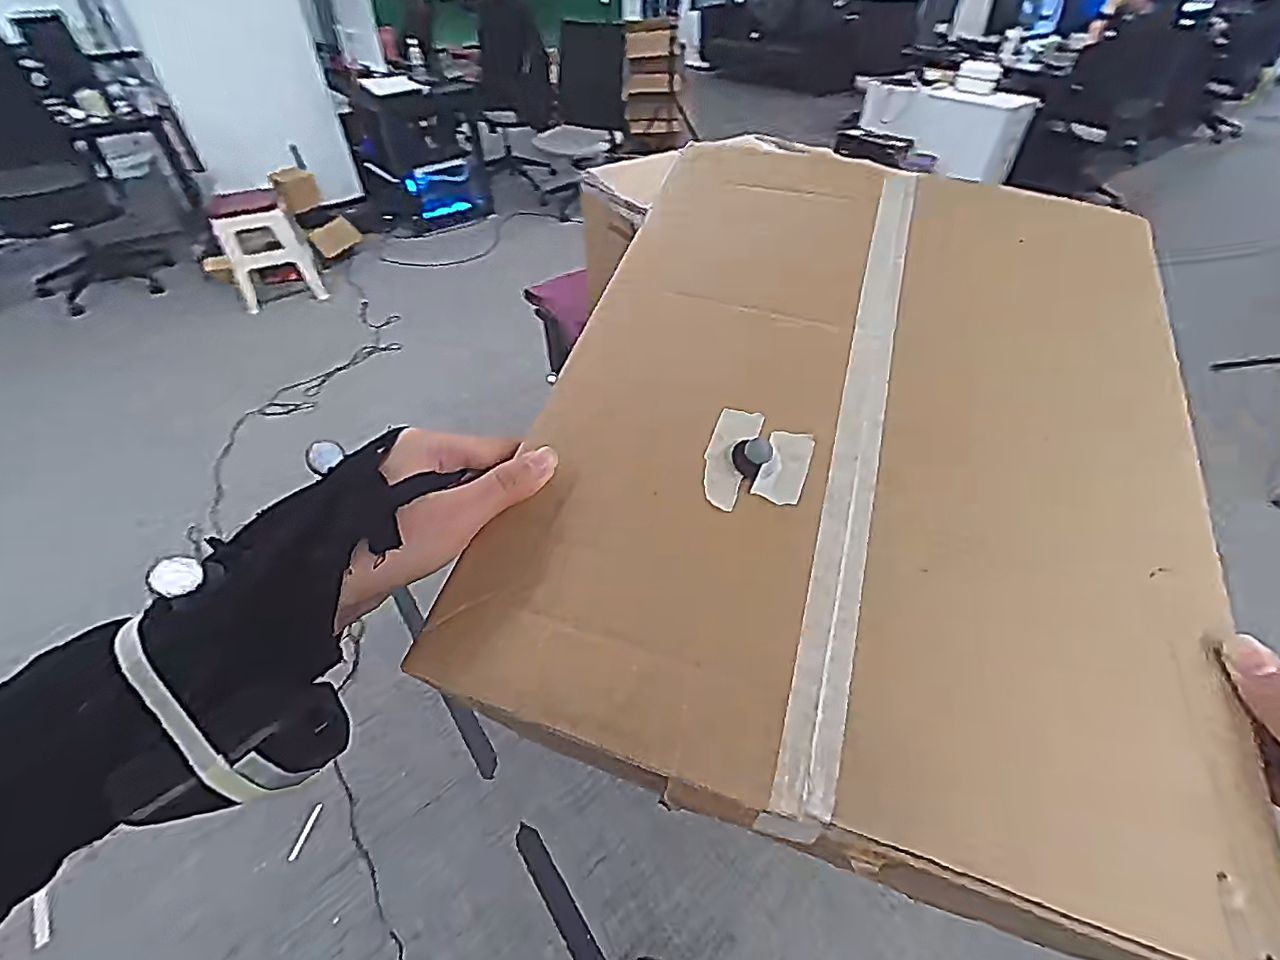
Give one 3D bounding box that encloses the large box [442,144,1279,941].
[{"bbox_3d":[0.119,0.022,0.419,0.320,0.320,0.408,14,61,10],"label":"large box"}]
